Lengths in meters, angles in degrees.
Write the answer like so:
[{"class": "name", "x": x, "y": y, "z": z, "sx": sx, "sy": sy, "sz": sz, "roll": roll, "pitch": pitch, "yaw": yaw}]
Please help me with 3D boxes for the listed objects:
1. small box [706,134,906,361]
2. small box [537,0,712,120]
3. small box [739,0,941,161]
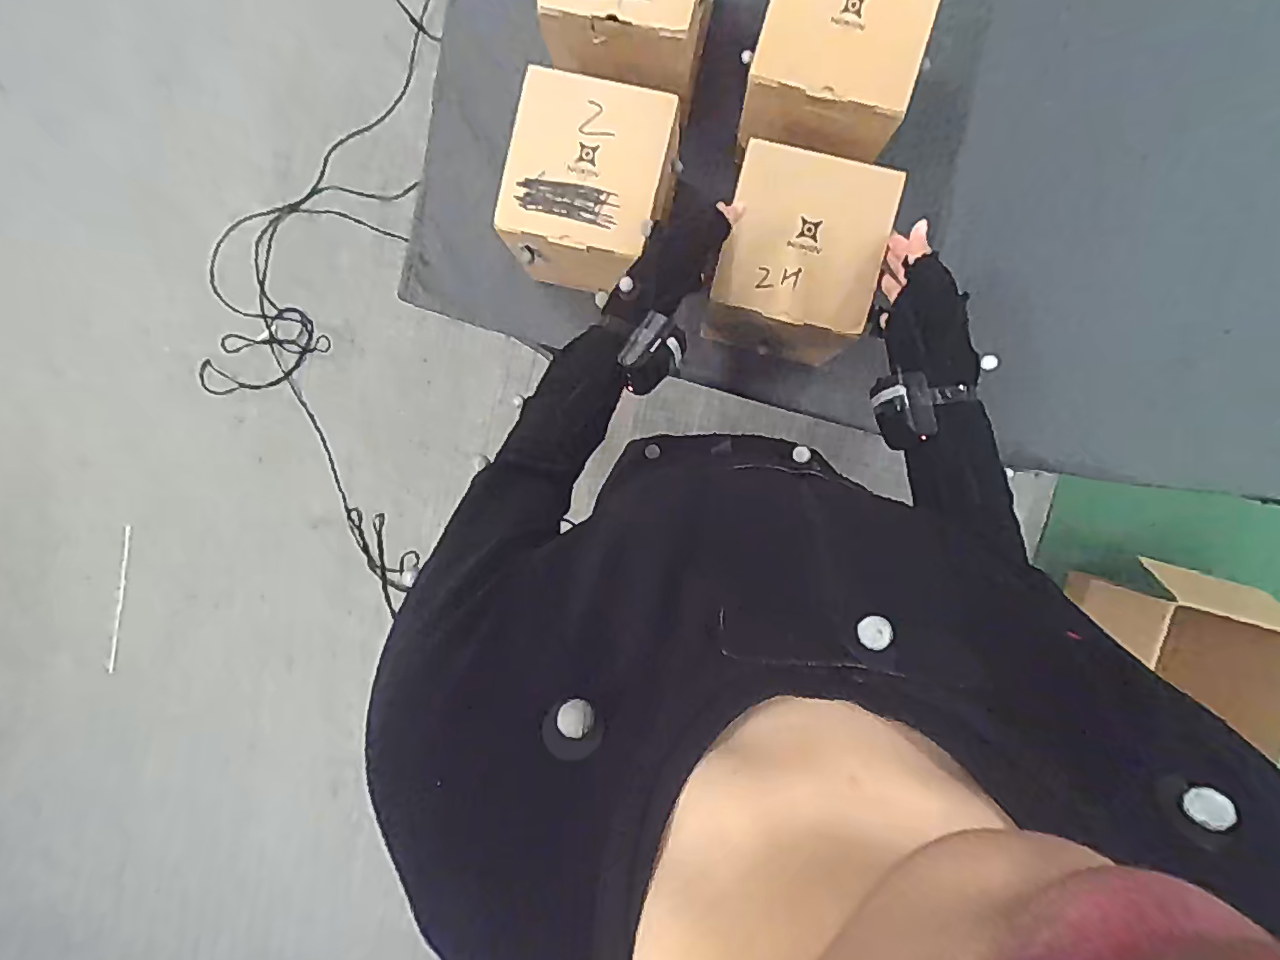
[{"class": "small box", "x": 0.177, "y": -0.257, "z": 0.638, "sx": 0.168, "sy": 0.176, "sz": 0.179, "roll": 15, "pitch": 93, "yaw": 3}, {"class": "small box", "x": -0.005, "y": -0.565, "z": 0.634, "sx": 0.168, "sy": 0.176, "sz": 0.179, "roll": 13, "pitch": 94, "yaw": 3}, {"class": "small box", "x": 0.220, "y": -0.482, "z": 0.625, "sx": 0.168, "sy": 0.176, "sz": 0.179, "roll": 16, "pitch": 96, "yaw": 3}]
